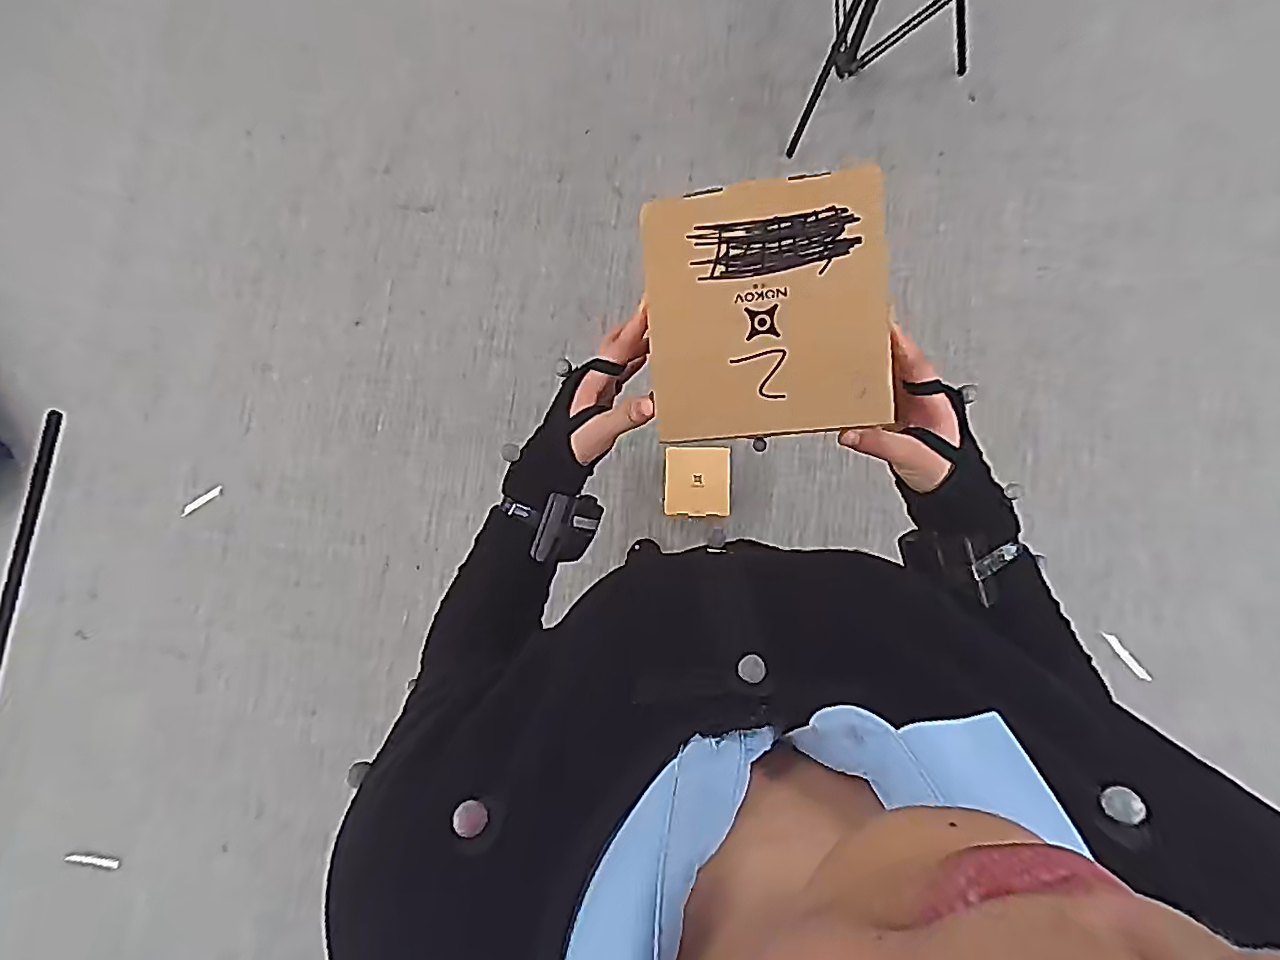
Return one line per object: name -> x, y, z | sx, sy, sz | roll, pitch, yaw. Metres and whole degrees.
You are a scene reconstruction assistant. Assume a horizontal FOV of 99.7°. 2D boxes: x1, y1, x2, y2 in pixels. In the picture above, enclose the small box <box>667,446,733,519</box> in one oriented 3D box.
small box -> 0.156, 0.011, 1.444 | 0.168, 0.176, 0.179 | 1, 84, 3
